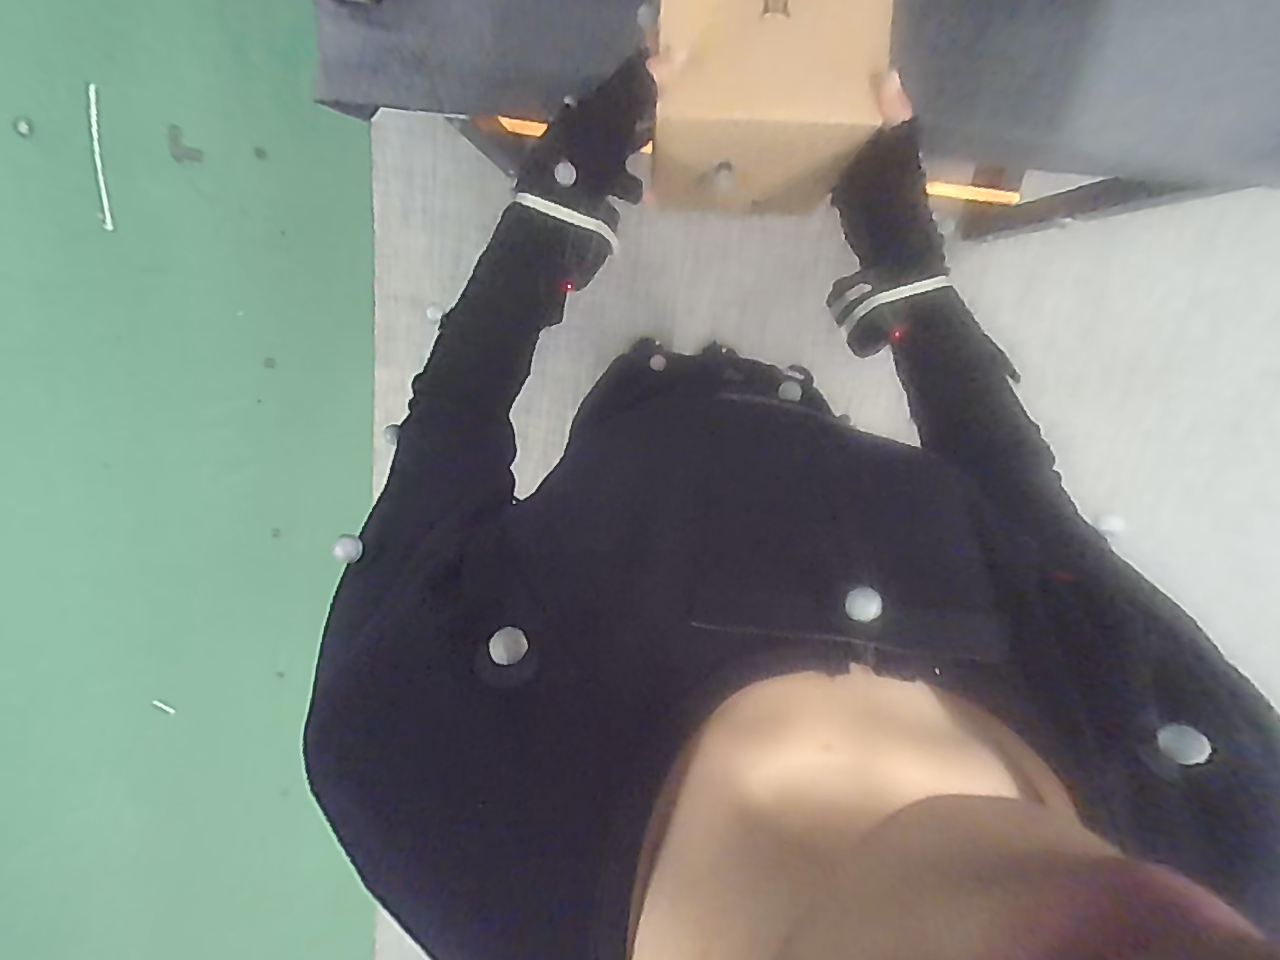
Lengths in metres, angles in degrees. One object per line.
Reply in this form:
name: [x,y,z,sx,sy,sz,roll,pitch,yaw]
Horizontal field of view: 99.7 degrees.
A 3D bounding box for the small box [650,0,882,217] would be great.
small box: [0.095,-0.350,0.471,0.168,0.176,0.179,2,93,0]
